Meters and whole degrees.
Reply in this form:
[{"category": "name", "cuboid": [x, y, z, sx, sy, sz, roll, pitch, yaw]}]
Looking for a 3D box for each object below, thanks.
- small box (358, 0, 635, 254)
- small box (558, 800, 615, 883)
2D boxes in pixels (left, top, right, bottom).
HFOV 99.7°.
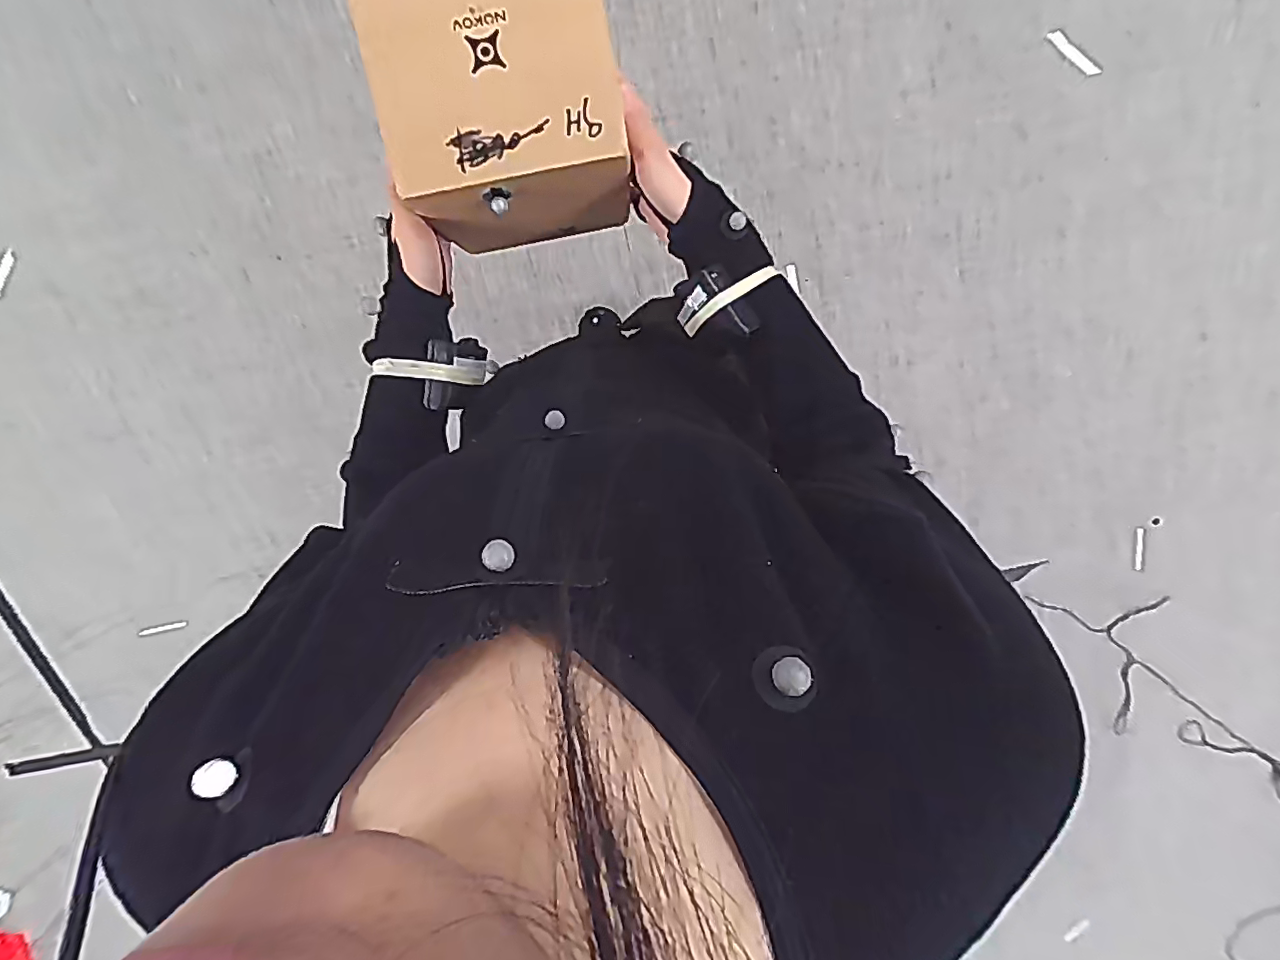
[{"category": "small box", "cuboid": [-0.101, -0.304, 0.437, 0.168, 0.176, 0.179, -11, 100, 0]}, {"category": "small box", "cuboid": [-0.177, 1.200, 1.805, 0.179, 0.176, 0.168, 3, 107, -3]}]
